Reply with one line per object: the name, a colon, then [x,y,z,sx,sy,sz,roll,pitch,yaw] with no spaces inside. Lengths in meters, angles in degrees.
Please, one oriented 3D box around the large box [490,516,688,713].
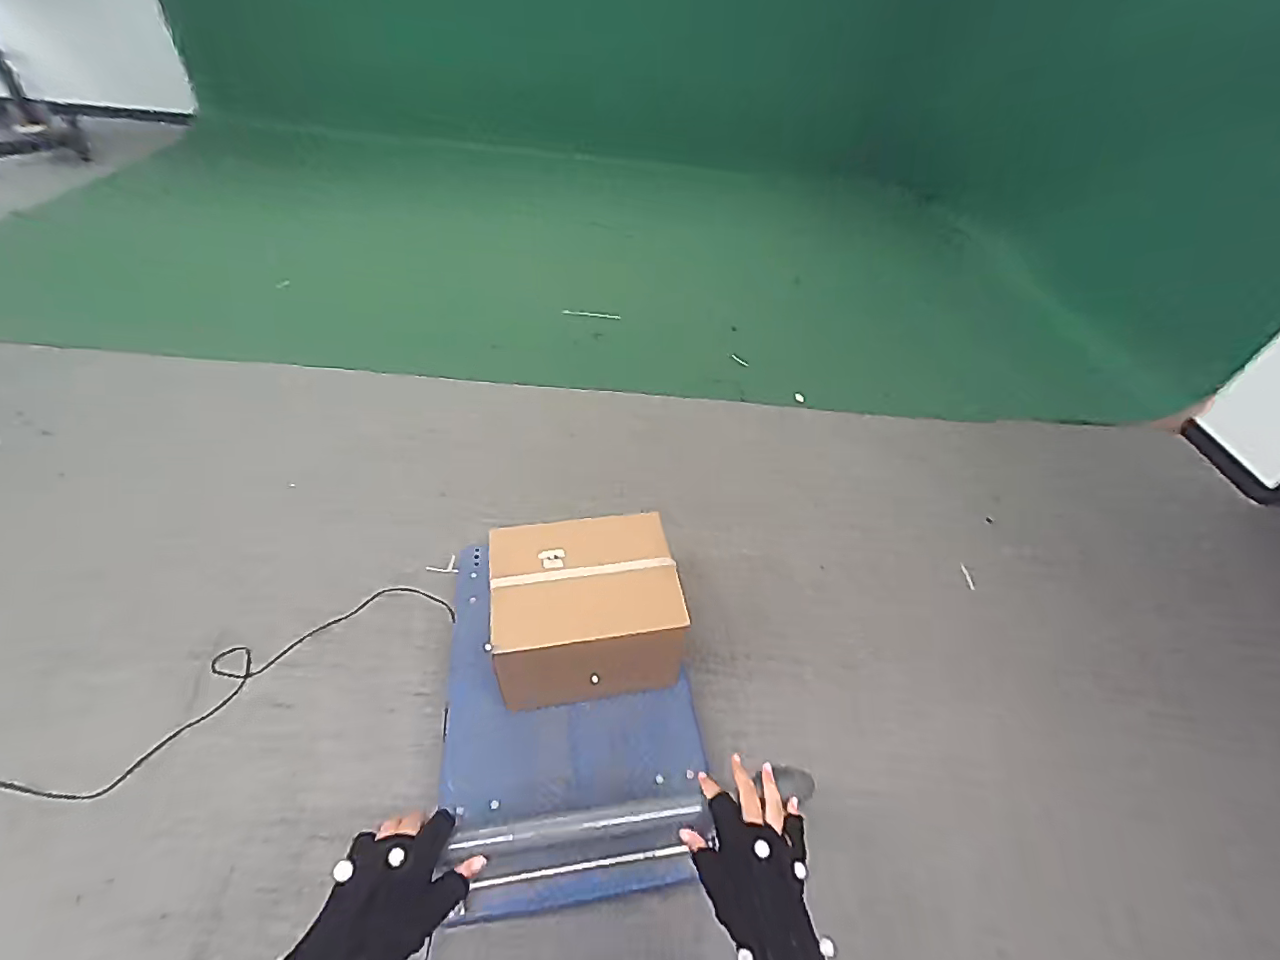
large box: [-0.130,0.318,1.289,0.408,0.320,0.320,-6,46,-10]
